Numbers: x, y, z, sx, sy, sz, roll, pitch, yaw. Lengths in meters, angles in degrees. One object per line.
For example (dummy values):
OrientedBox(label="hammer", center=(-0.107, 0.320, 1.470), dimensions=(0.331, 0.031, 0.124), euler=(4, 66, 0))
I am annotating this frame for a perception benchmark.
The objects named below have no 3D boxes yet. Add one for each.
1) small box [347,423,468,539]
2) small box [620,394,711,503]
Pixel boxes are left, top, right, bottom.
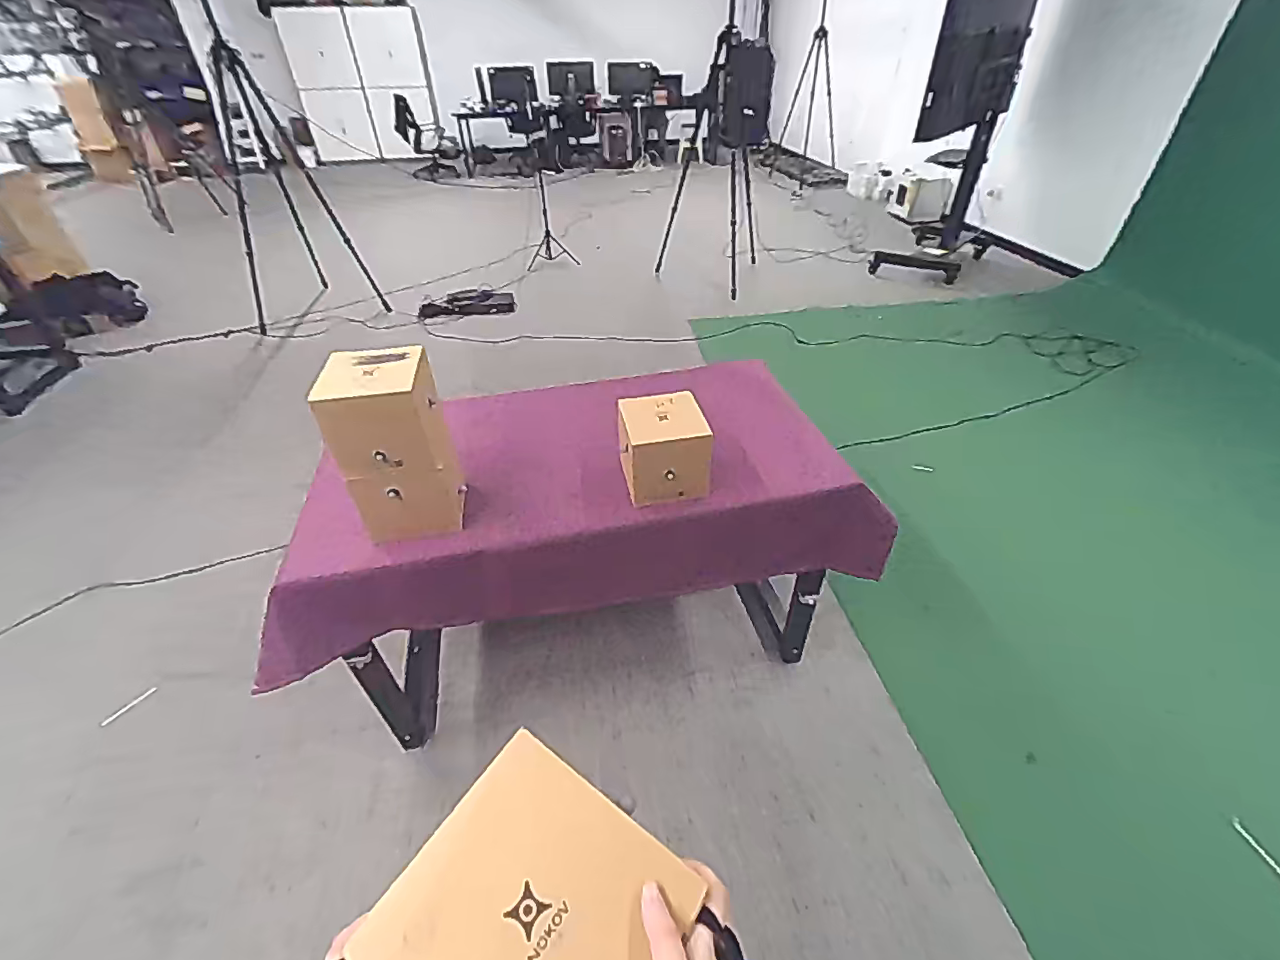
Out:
OrientedBox(label="small box", center=(-0.464, 0.004, 1.106), dimensions=(0.179, 0.176, 0.168), euler=(-7, 40, -8))
OrientedBox(label="small box", center=(0.051, -0.064, 1.173), dimensions=(0.168, 0.176, 0.179), euler=(-7, 40, -7))
